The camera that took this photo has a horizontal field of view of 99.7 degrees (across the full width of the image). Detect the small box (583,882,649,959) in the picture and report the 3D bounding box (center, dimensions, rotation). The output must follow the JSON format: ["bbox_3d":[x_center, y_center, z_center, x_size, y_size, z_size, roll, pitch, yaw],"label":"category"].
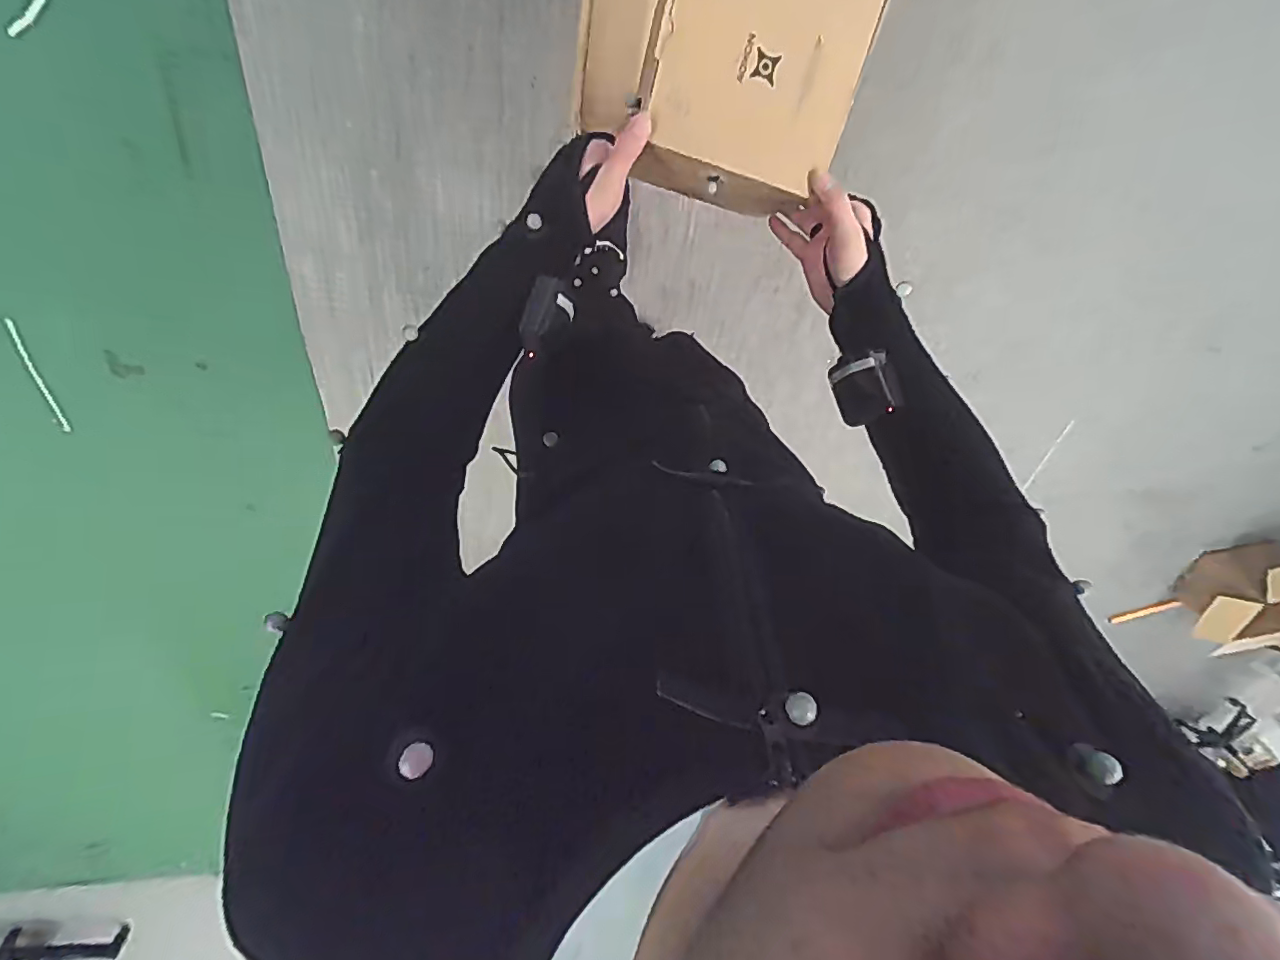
[{"bbox_3d":[-0.080,1.343,1.623,0.179,0.176,0.168,-1,127,-10],"label":"small box"}]

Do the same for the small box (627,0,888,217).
[{"bbox_3d":[0.095,-0.376,0.534,0.179,0.176,0.168,12,107,-14],"label":"small box"}]
